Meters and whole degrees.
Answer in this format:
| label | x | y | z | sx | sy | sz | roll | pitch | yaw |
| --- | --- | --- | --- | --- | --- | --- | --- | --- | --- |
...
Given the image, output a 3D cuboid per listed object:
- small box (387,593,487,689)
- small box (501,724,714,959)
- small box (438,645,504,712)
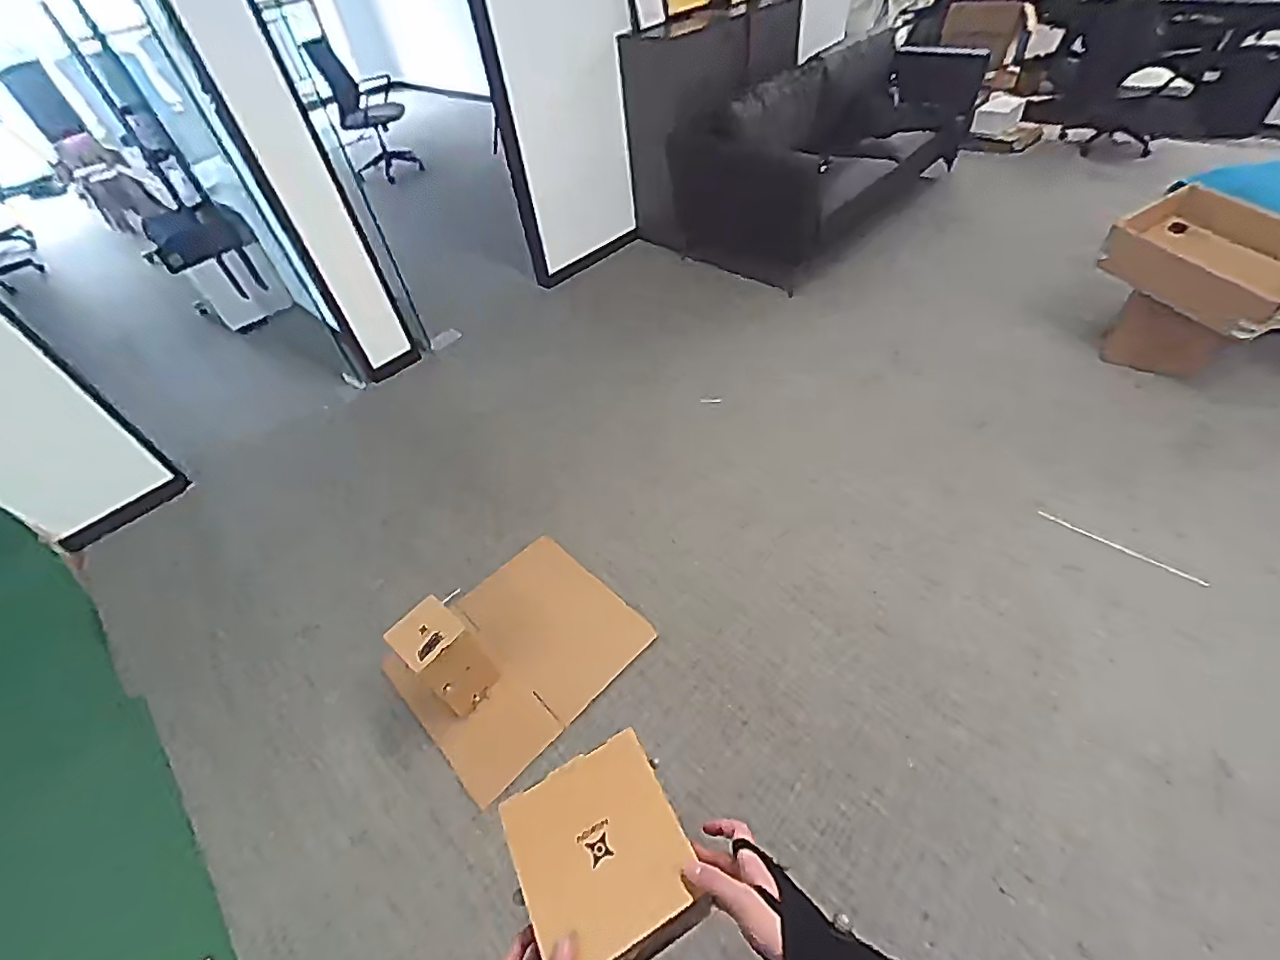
| label | x | y | z | sx | sy | sz | roll | pitch | yaw |
| --- | --- | --- | --- | --- | --- | --- | --- | --- | --- |
| small box | -0.558 | 0.455 | 1.508 | 0.179 | 0.176 | 0.168 | 29 | 58 | 31 |
| small box | -0.029 | 0.418 | 0.602 | 0.168 | 0.176 | 0.179 | -26 | 47 | -15 |
| small box | -0.541 | 0.565 | 1.628 | 0.179 | 0.176 | 0.168 | 27 | 57 | 28 |
